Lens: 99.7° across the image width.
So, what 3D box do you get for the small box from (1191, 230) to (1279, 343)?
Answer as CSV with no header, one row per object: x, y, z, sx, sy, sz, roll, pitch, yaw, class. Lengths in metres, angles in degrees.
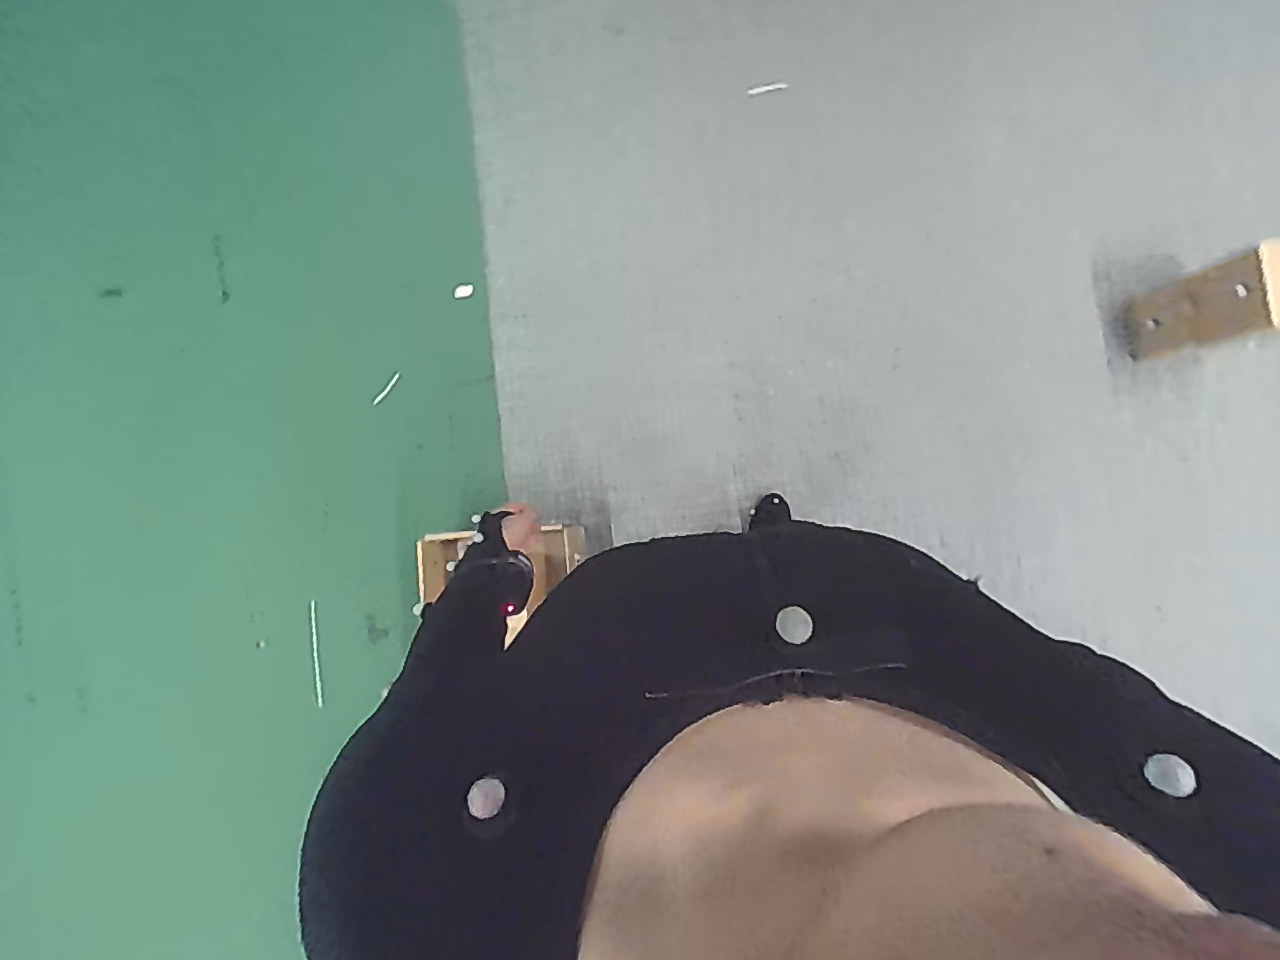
1.301,-0.400,1.113,0.168,0.176,0.179,-7,87,8,small box

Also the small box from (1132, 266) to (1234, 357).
1.315,-0.399,1.275,0.179,0.176,0.168,-7,86,7,small box
